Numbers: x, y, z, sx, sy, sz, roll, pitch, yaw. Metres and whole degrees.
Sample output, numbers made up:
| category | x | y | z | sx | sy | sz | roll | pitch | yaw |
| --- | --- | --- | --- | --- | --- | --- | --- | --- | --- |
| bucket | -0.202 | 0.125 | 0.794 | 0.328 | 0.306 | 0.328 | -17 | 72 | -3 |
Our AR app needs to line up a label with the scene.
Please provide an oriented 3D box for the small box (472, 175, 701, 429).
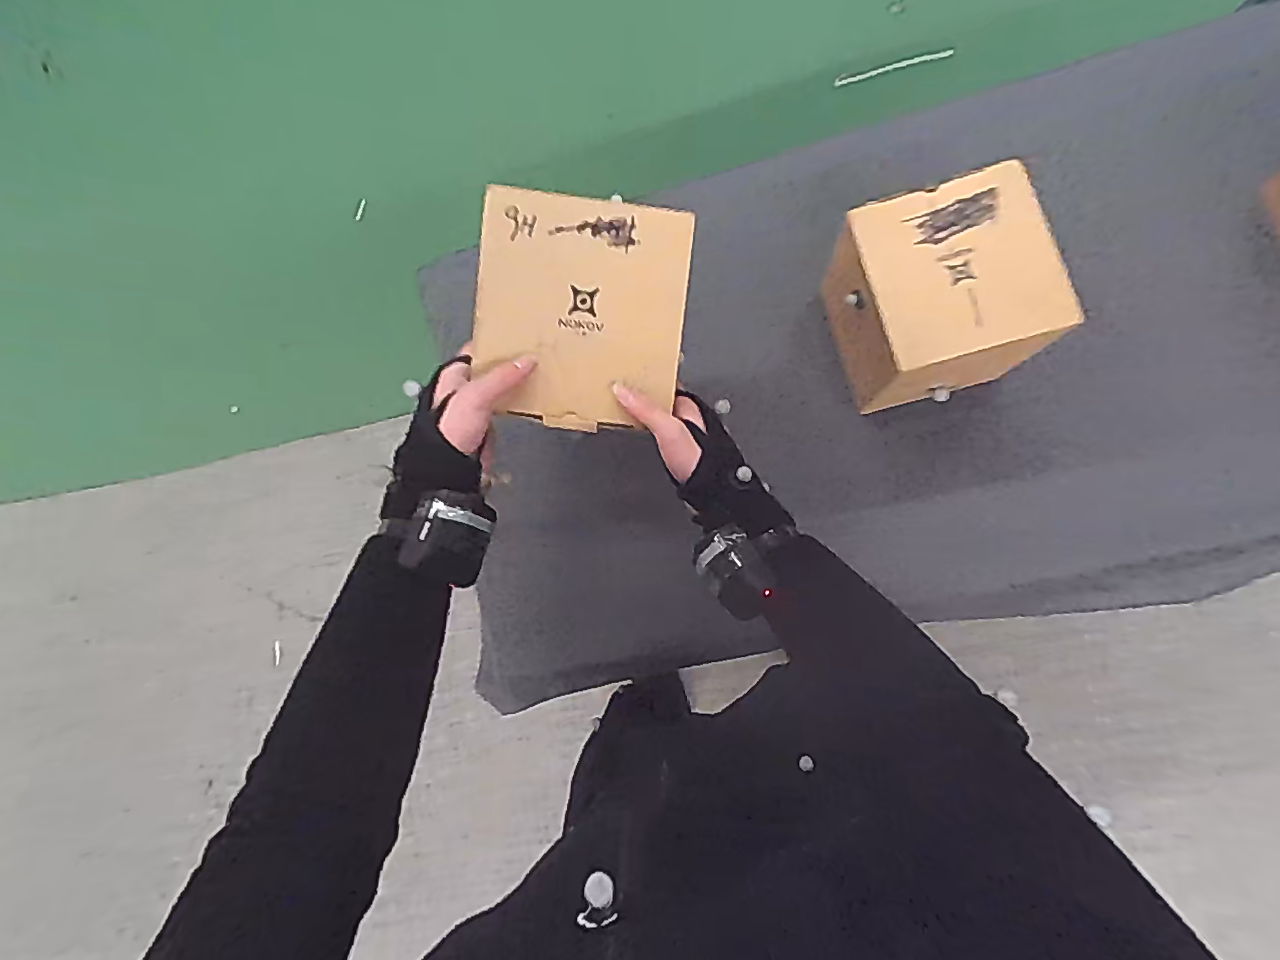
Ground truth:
| category | x | y | z | sx | sy | sz | roll | pitch | yaw |
| --- | --- | --- | --- | --- | --- | --- | --- | --- | --- |
| small box | -0.045 | -0.146 | 0.500 | 0.168 | 0.176 | 0.179 | 6 | 97 | -3 |

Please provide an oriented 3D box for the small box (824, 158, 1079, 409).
| category | x | y | z | sx | sy | sz | roll | pitch | yaw |
| --- | --- | --- | --- | --- | --- | --- | --- | --- | --- |
| small box | 0.313 | -0.196 | 0.590 | 0.168 | 0.176 | 0.179 | -15 | 81 | 8 |
